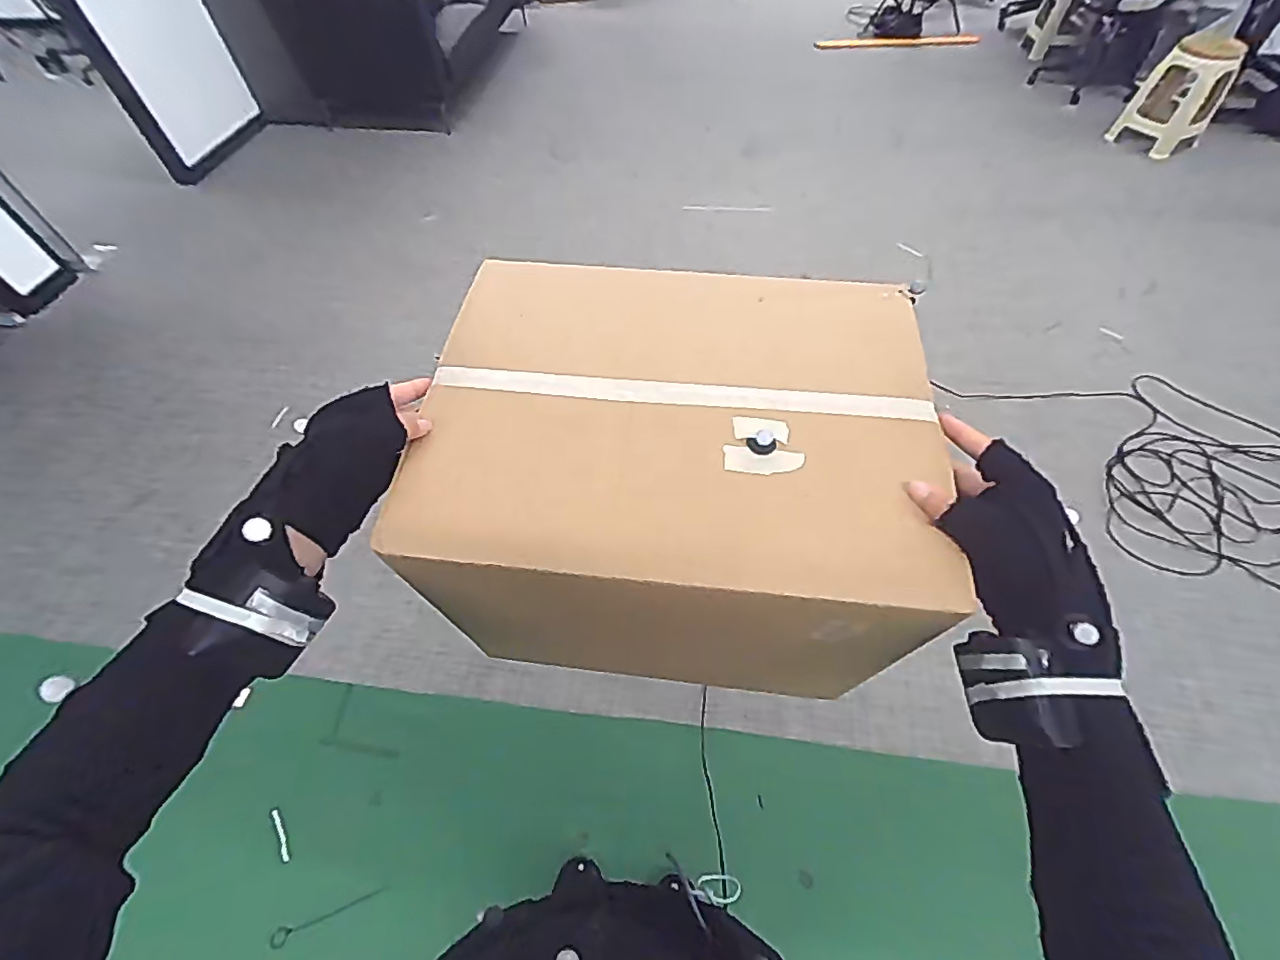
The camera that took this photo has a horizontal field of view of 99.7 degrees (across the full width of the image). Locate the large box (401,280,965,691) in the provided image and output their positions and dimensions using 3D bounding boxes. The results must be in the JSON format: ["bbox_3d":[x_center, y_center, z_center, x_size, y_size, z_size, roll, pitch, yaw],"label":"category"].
[{"bbox_3d":[0.037,0.020,0.578,0.408,0.320,0.320,5,59,3],"label":"large box"}]
